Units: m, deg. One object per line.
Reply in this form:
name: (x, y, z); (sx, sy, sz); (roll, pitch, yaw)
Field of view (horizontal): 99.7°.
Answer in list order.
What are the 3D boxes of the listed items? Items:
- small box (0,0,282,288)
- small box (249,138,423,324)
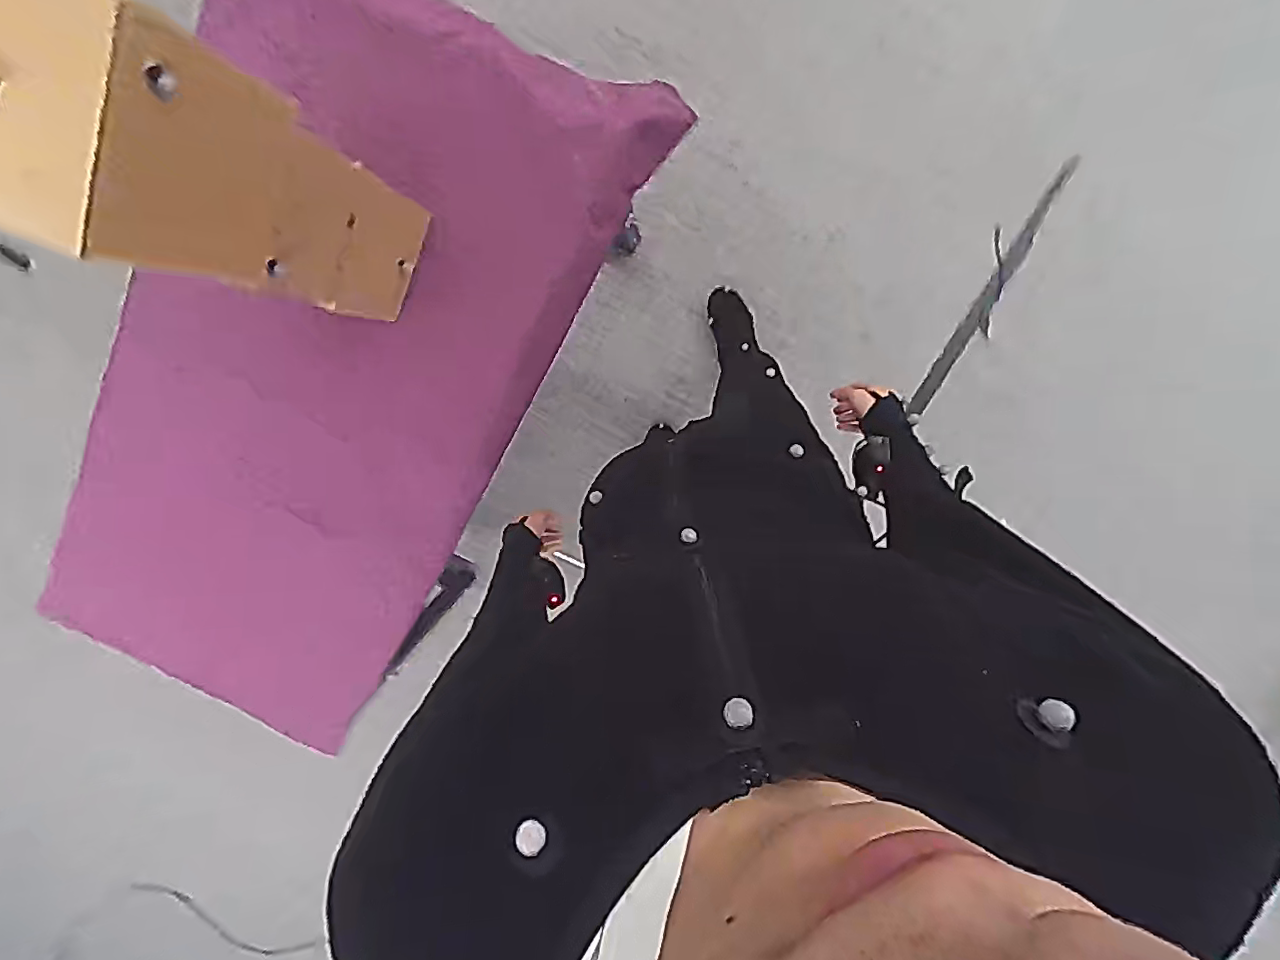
small box: (-0.426, -0.270, 0.427); (0.168, 0.176, 0.179); (21, 102, -1)
small box: (-0.429, -0.334, 0.749); (0.168, 0.176, 0.179); (24, 101, -1)
